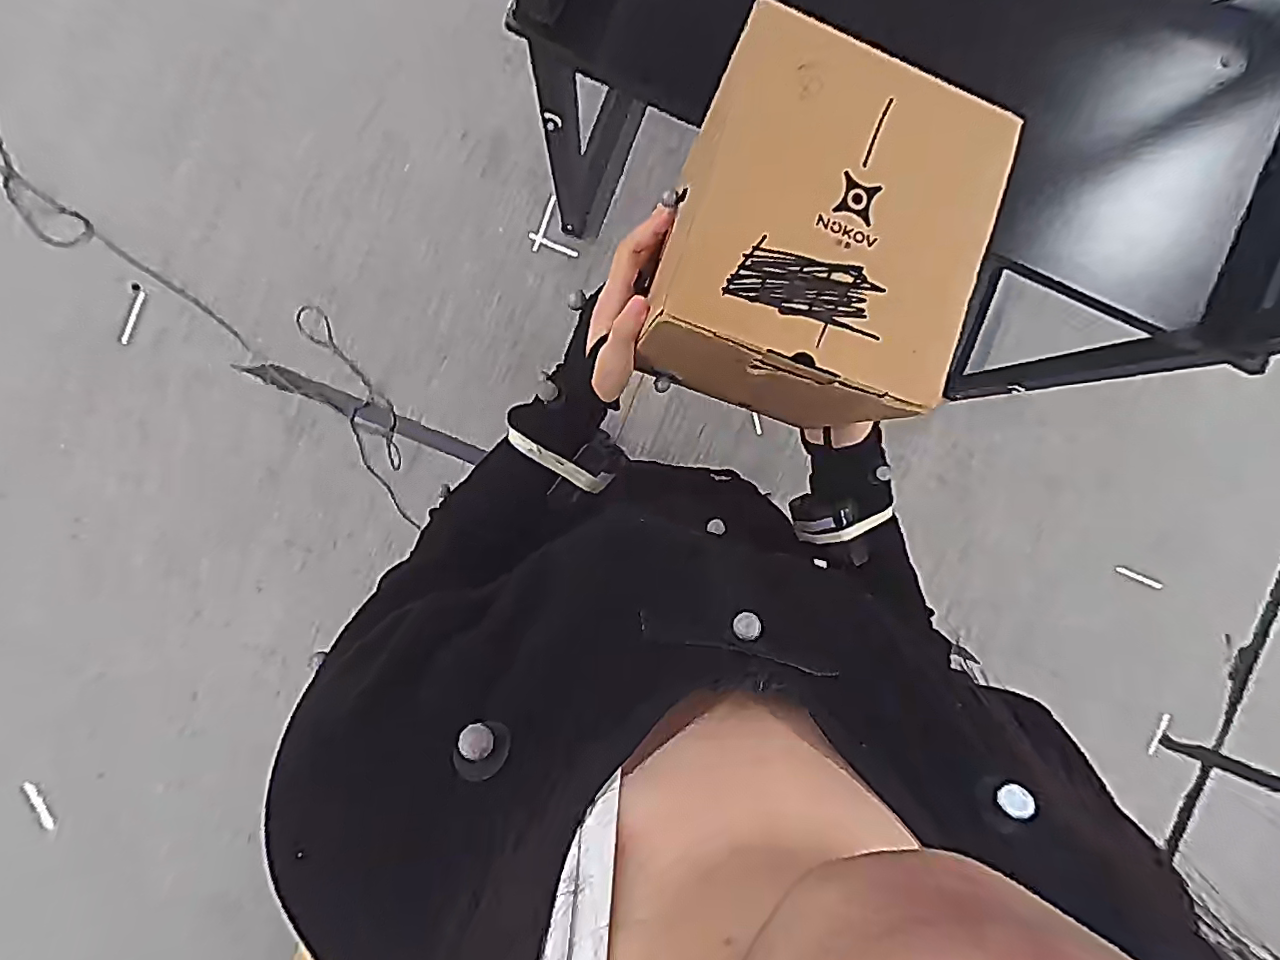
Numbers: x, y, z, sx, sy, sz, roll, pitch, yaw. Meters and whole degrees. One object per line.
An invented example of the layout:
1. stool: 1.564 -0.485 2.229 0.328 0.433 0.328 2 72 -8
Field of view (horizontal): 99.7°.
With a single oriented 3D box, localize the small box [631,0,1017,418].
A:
1. small box: 0.098 -0.149 0.369 0.168 0.176 0.179 17 89 -9
